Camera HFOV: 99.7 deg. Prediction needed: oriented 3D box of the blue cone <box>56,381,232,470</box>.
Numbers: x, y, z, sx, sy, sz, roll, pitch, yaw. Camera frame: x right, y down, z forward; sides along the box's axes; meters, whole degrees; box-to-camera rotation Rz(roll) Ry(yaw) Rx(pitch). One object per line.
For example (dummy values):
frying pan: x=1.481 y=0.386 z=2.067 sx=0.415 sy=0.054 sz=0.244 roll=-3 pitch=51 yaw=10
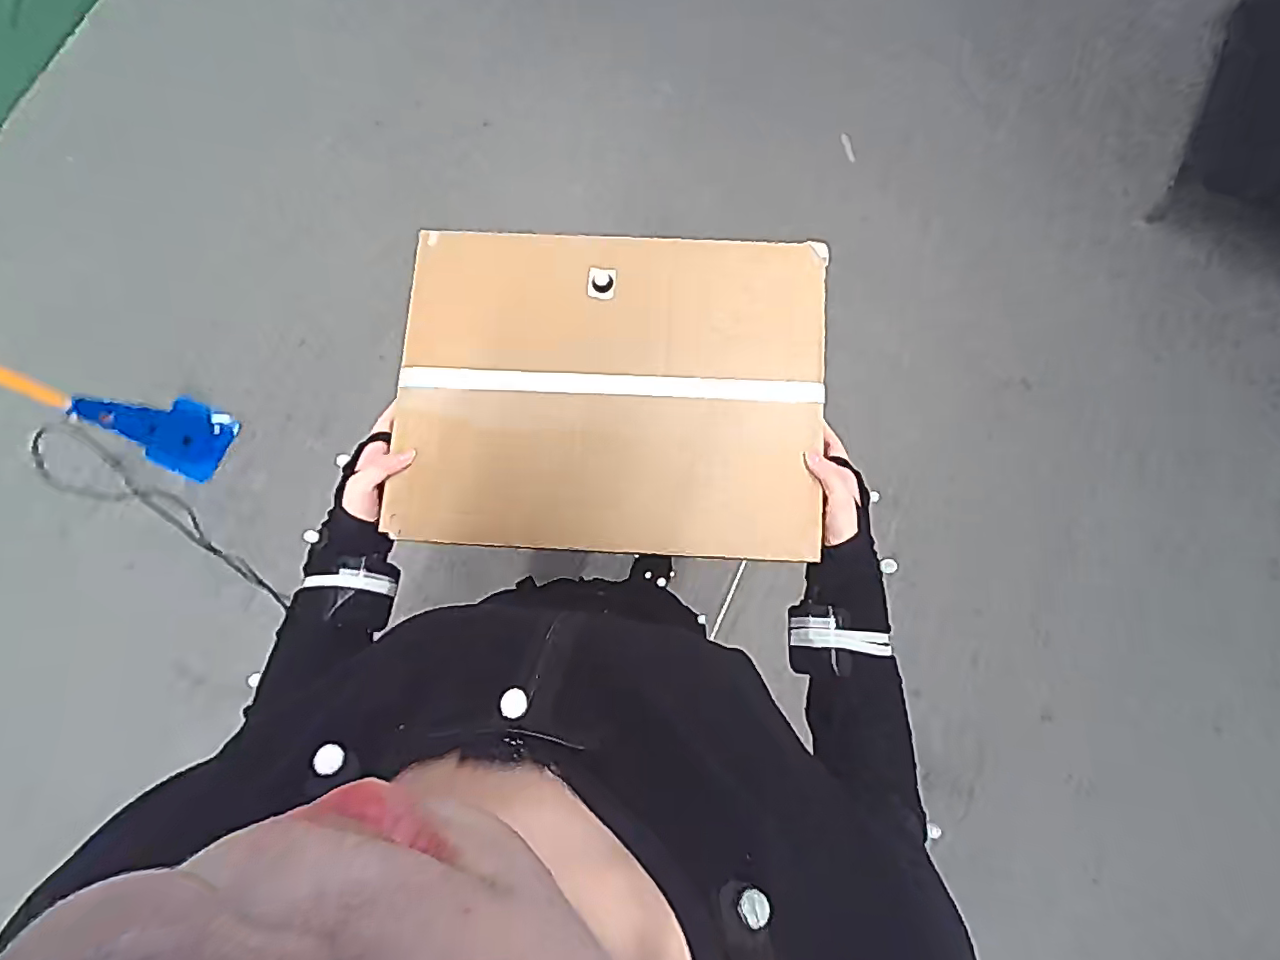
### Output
blue cone: x=-1.224 y=-0.164 z=1.309 sx=0.192 sy=0.380 sz=0.193 roll=23 pitch=80 yaw=0
